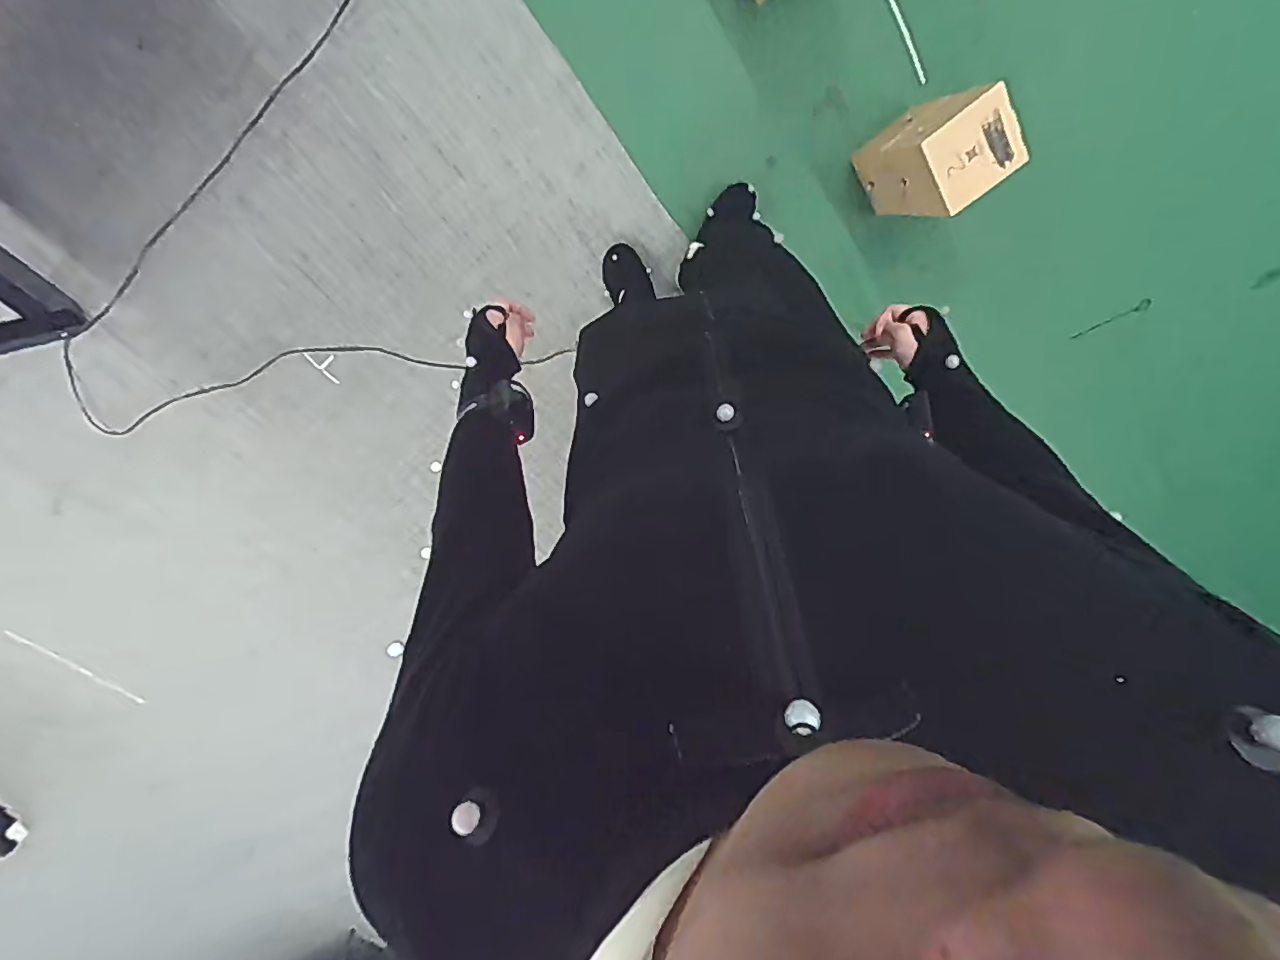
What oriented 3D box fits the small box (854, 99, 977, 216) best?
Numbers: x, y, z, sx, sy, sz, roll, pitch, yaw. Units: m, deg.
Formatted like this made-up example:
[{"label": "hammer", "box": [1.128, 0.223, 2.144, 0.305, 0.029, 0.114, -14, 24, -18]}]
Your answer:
[{"label": "small box", "box": [0.649, -0.761, 1.289, 0.179, 0.176, 0.168, -35, 114, 13]}]
